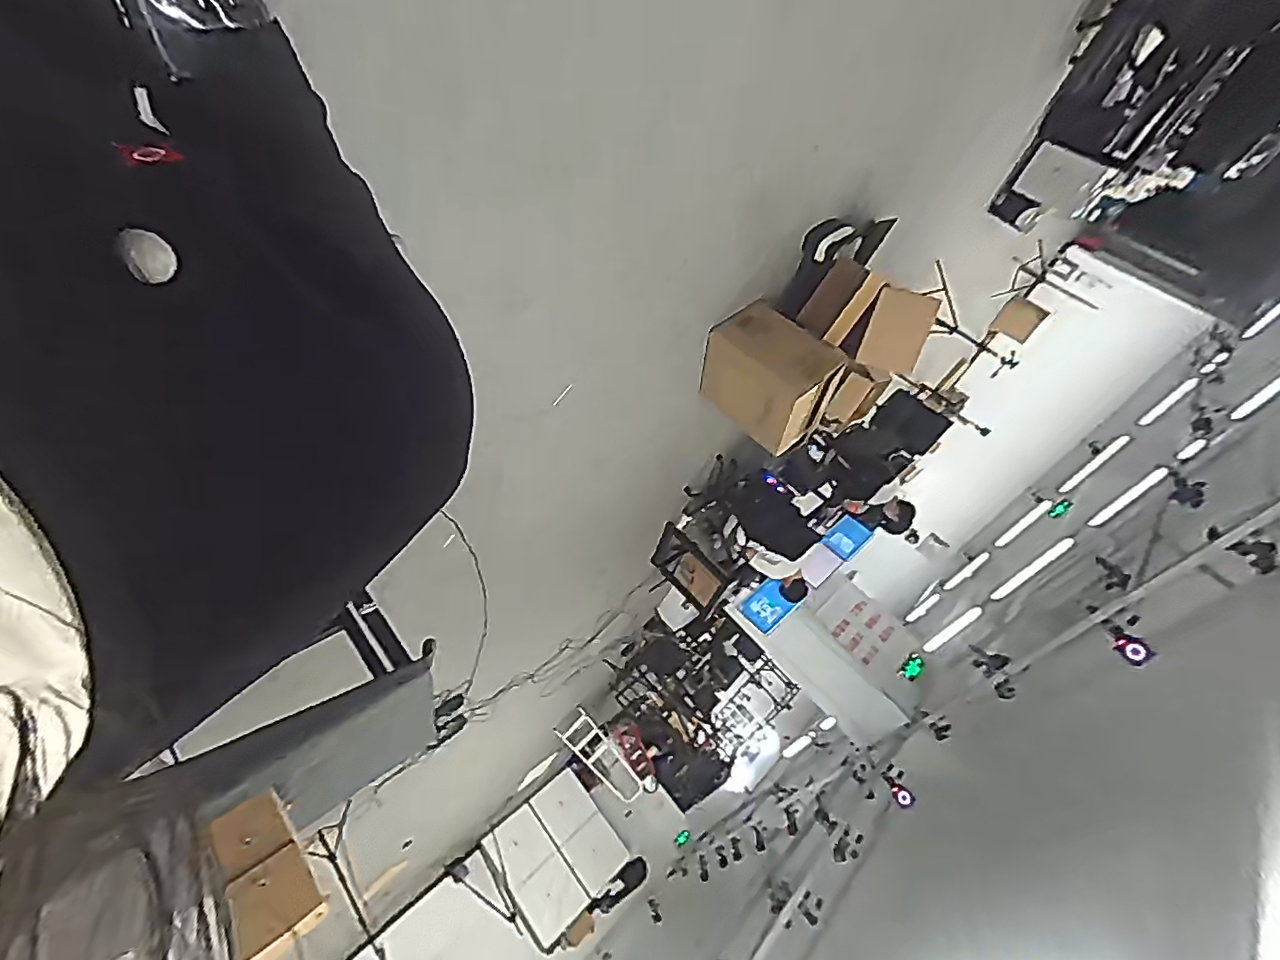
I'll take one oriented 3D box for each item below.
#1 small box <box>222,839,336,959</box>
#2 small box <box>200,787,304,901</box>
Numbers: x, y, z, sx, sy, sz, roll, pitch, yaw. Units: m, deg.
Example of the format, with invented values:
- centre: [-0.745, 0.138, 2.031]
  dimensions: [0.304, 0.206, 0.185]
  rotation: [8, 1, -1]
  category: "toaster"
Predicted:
- centre: [-0.874, 1.024, 1.309]
  dimensions: [0.179, 0.176, 0.168]
  rotation: [-28, 150, -37]
  category: "small box"
- centre: [-0.988, 0.936, 1.384]
  dimensions: [0.179, 0.176, 0.168]
  rotation: [-28, 152, -38]
  category: "small box"
